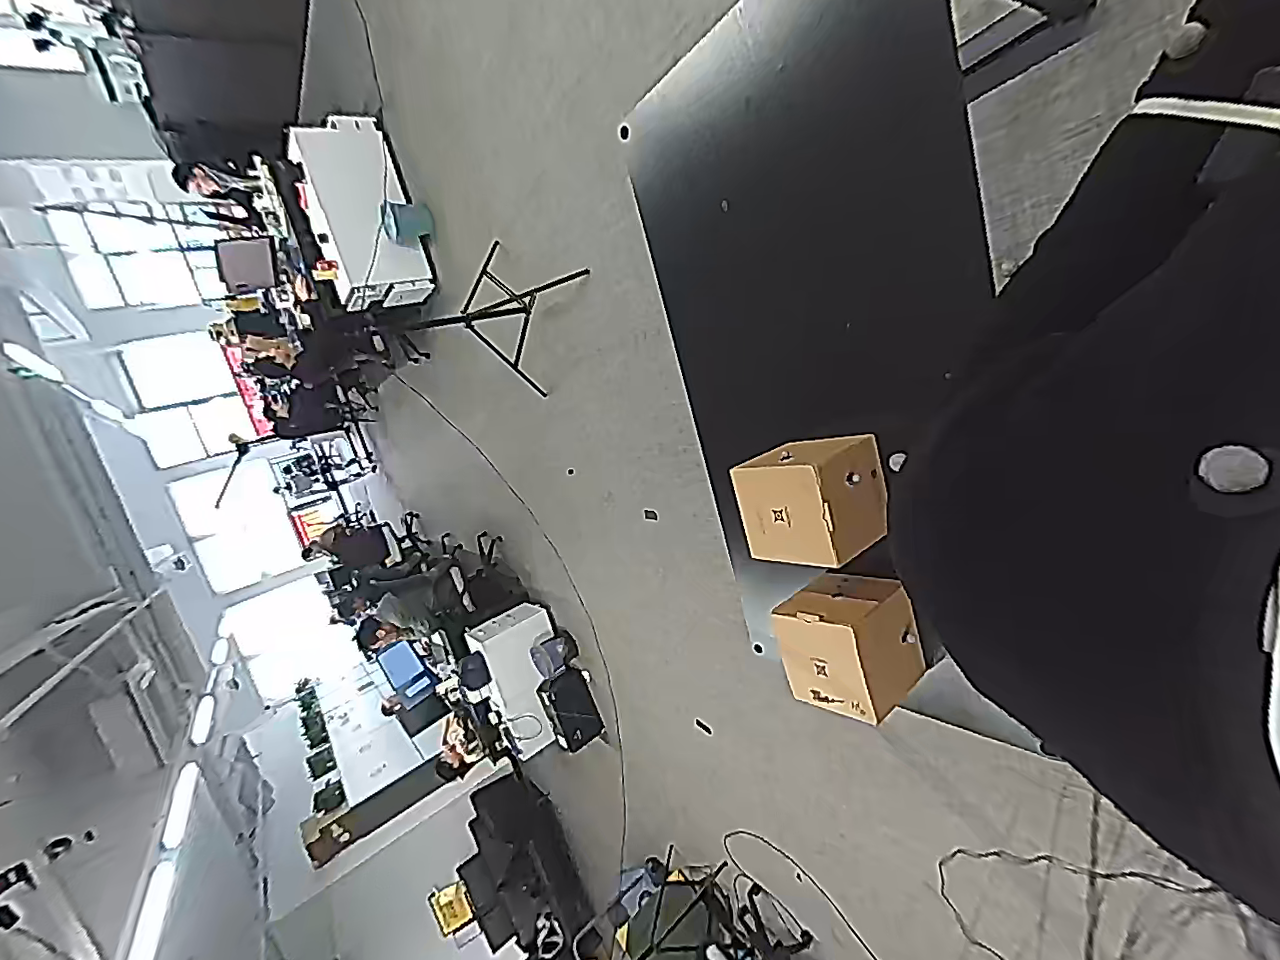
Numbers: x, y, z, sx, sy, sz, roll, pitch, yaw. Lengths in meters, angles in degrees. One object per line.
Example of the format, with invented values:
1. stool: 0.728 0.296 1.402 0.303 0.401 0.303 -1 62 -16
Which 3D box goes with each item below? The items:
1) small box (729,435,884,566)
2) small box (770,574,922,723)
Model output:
1. small box: 0.283 0.028 0.902 0.179 0.176 0.168 -3 106 55
2. small box: 0.358 0.277 0.939 0.168 0.176 0.179 -5 104 55
